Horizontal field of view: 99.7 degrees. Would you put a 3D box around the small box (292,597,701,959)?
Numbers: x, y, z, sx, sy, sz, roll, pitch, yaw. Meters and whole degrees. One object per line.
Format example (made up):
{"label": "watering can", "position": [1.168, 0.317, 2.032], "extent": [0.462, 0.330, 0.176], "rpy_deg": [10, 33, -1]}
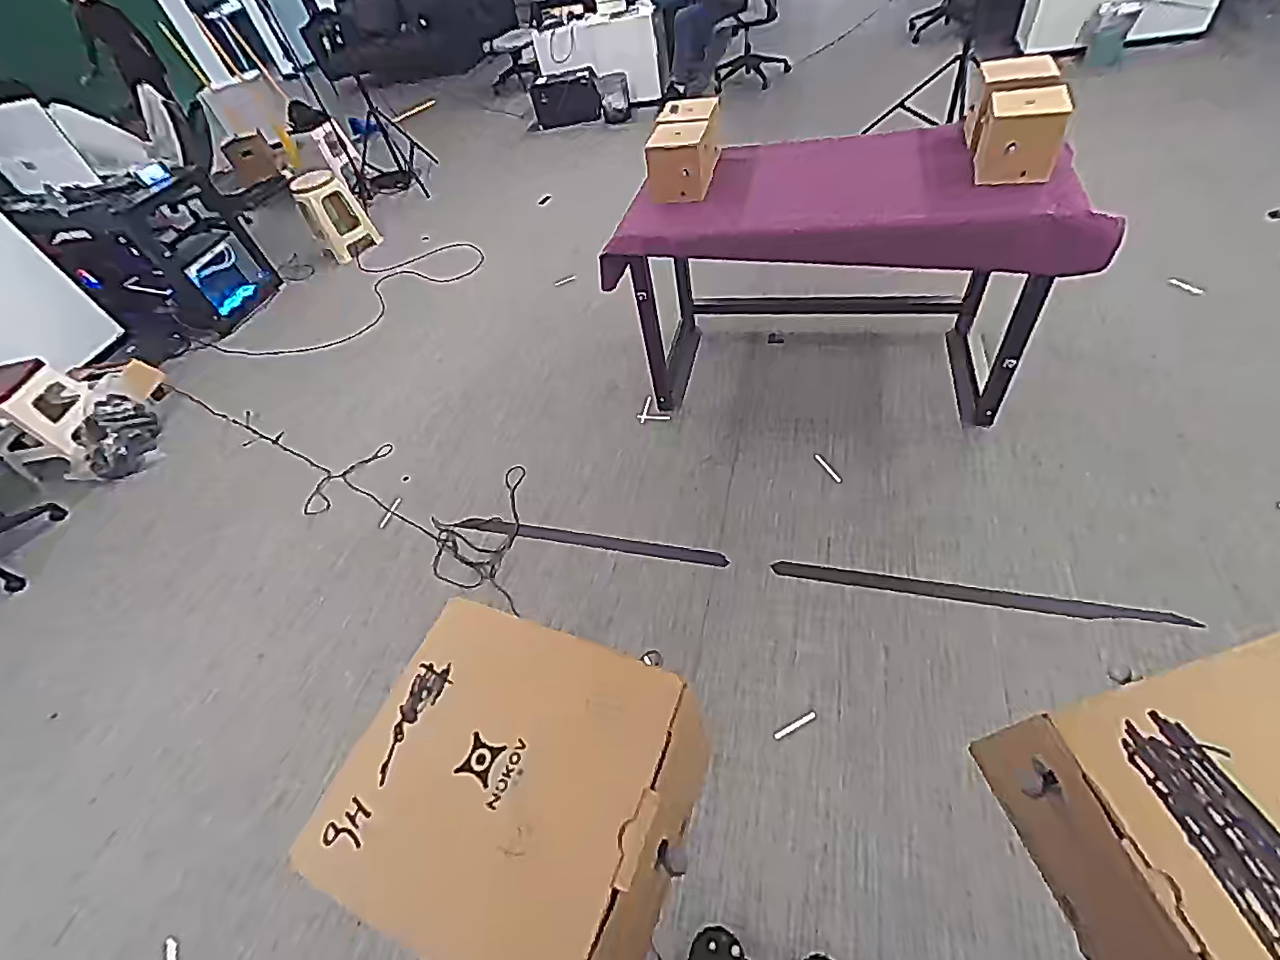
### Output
{"label": "small box", "position": [-0.066, 0.208, 0.362], "extent": [0.179, 0.176, 0.168], "rpy_deg": [13, 56, 21]}

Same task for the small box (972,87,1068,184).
{"label": "small box", "position": [0.989, -0.896, 1.419], "extent": [0.168, 0.176, 0.179], "rpy_deg": [9, 53, 21]}

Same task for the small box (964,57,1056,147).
{"label": "small box", "position": [1.044, -1.073, 1.545], "extent": [0.179, 0.176, 0.168], "rpy_deg": [7, 54, 17]}

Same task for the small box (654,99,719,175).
{"label": "small box", "position": [0.161, -1.139, 1.803], "extent": [0.179, 0.176, 0.168], "rpy_deg": [8, 55, 17]}
